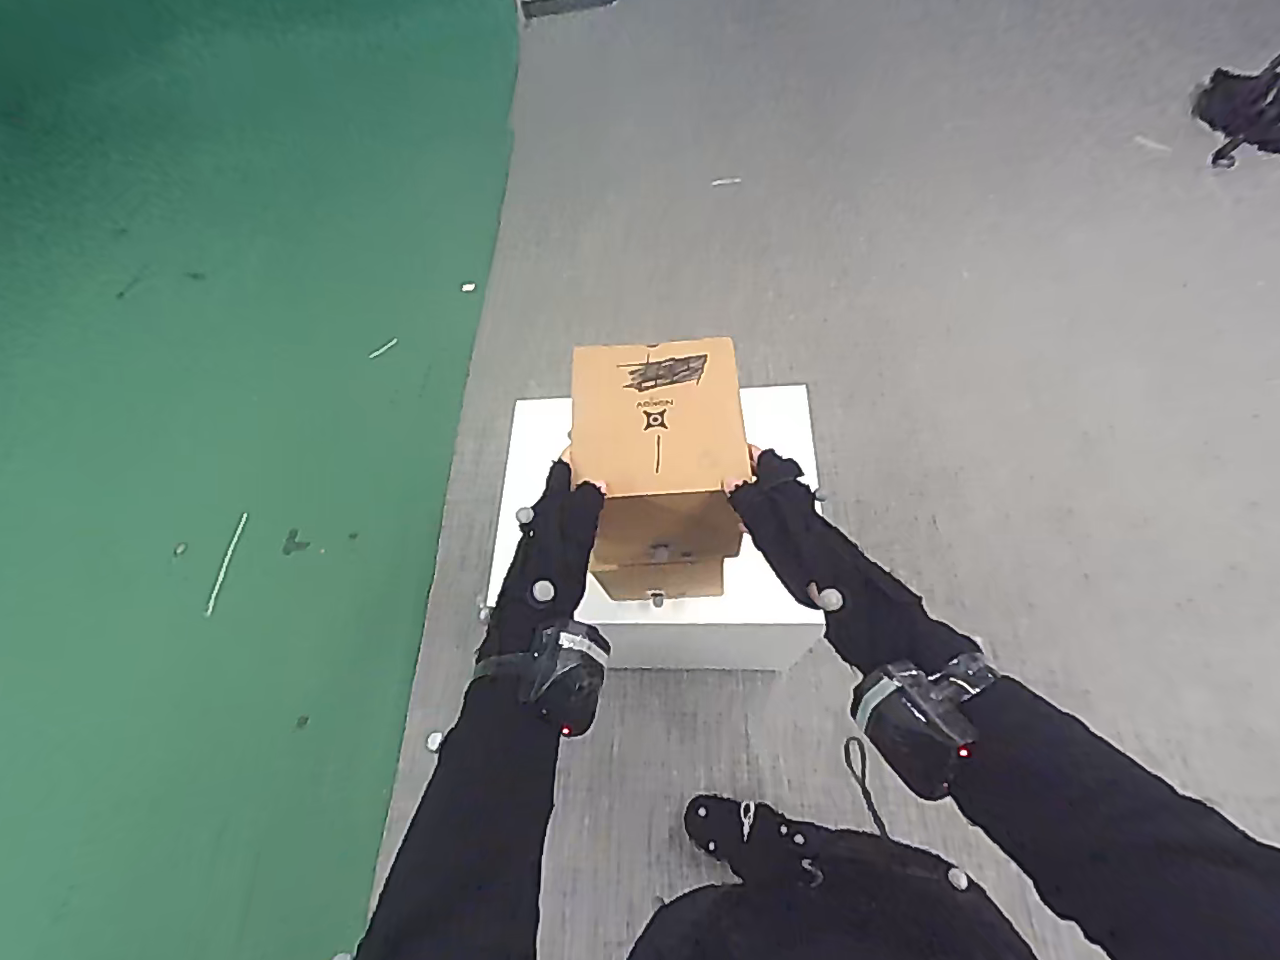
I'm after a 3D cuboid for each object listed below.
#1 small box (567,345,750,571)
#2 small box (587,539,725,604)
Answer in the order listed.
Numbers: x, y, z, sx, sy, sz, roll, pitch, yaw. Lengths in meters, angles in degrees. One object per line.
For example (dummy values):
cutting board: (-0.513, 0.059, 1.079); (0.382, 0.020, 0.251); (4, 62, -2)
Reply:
small box: (0.017, -0.018, 0.589); (0.168, 0.176, 0.179); (-7, 58, 2)
small box: (0.027, 0.063, 0.748); (0.168, 0.176, 0.179); (-6, 65, 8)
